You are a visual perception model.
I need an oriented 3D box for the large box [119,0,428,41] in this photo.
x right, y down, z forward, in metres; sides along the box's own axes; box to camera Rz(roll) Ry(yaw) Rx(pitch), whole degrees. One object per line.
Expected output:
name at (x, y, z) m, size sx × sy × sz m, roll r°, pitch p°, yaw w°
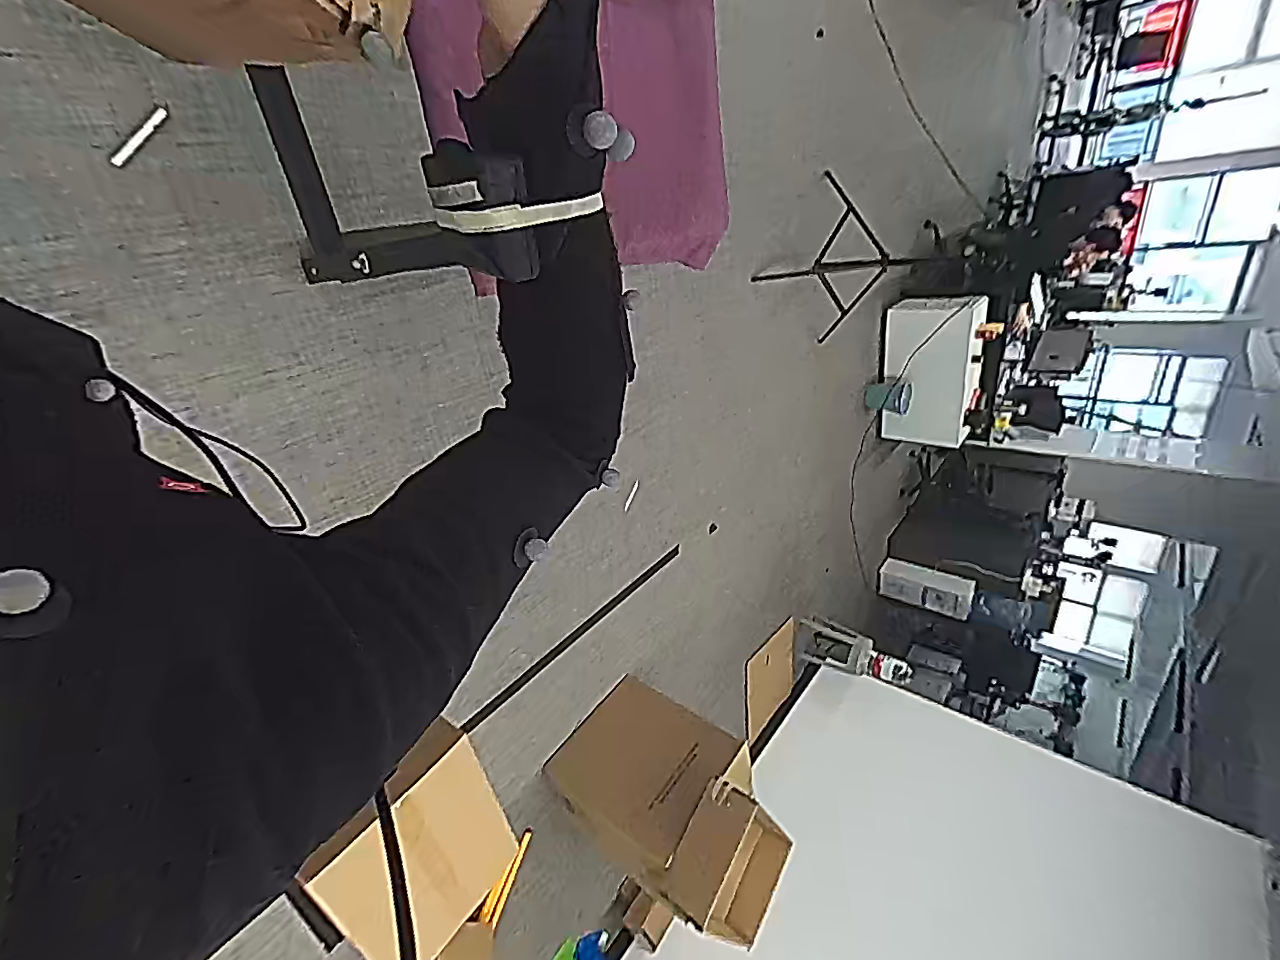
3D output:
large box at (-0.221, -0.438, 0.146) m, size 0.320 × 0.320 × 0.408 m, roll 6°, pitch 110°, yaw -55°
